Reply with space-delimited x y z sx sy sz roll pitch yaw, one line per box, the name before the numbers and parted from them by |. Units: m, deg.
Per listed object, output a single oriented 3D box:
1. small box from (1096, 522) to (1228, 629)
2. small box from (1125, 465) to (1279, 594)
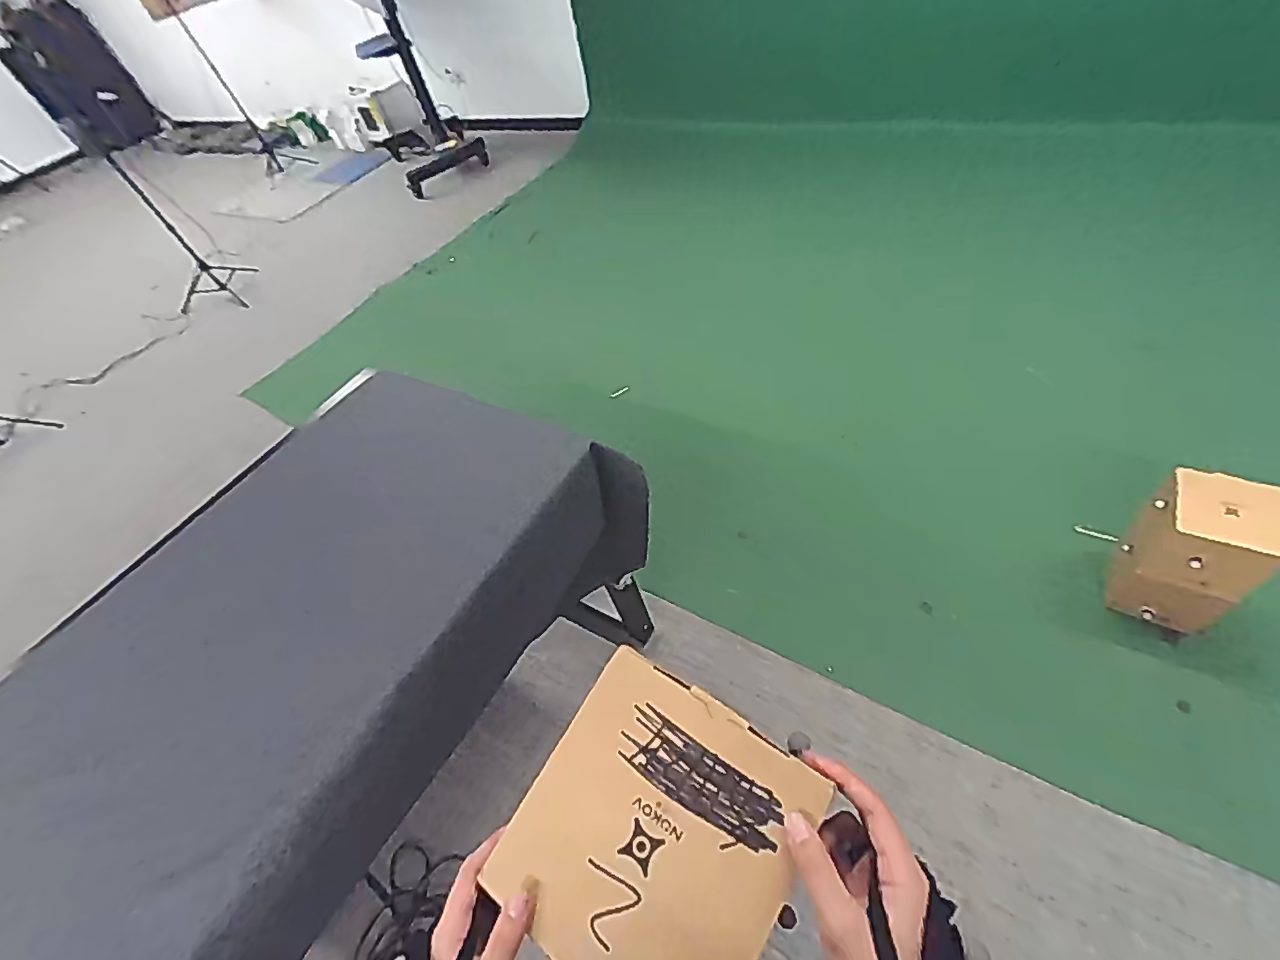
small box | 1.173 0.205 1.225 0.168 0.176 0.179 18 58 27
small box | 1.133 0.104 1.103 0.168 0.176 0.179 17 56 26
